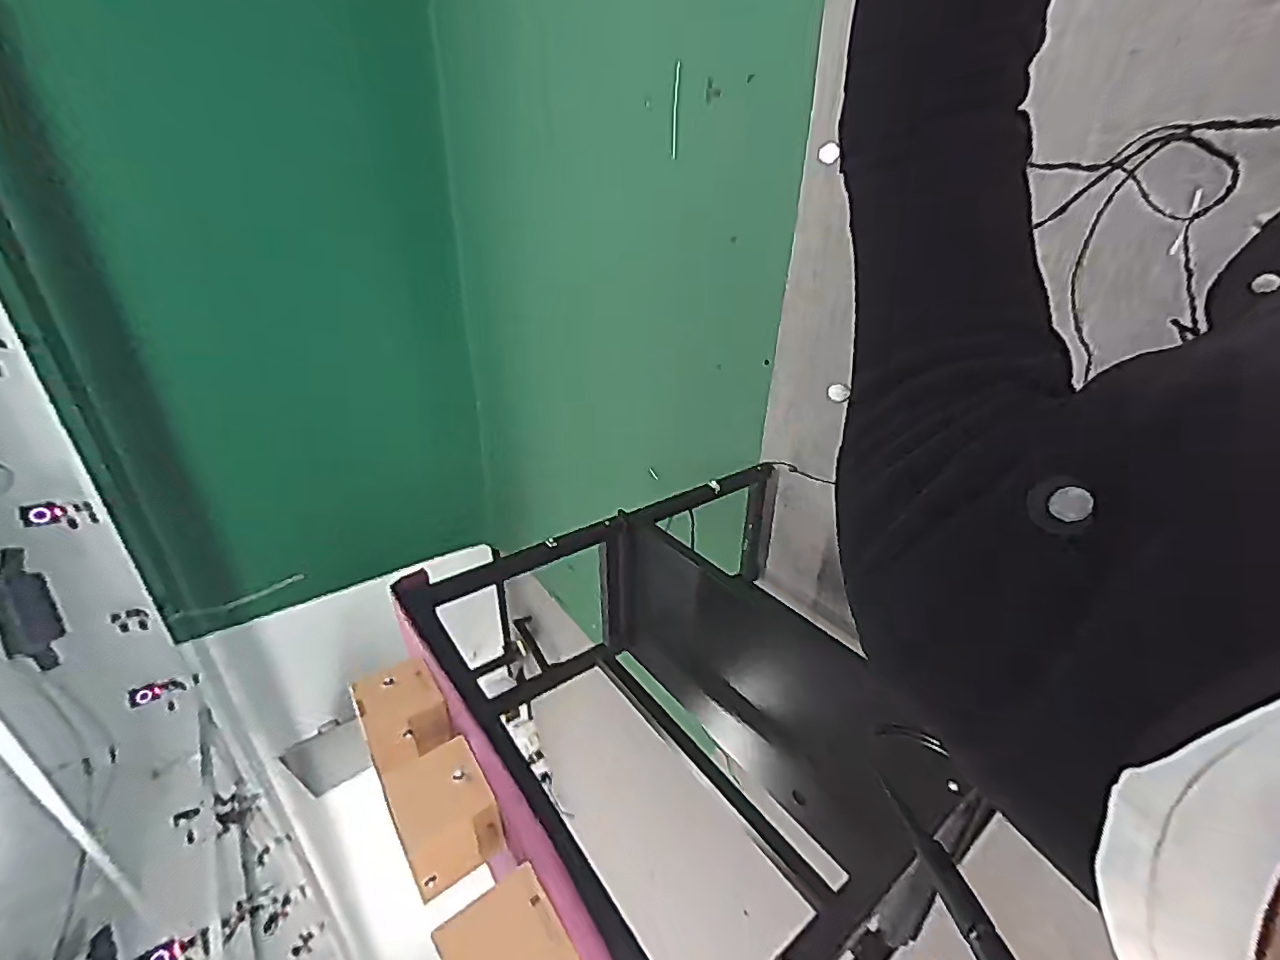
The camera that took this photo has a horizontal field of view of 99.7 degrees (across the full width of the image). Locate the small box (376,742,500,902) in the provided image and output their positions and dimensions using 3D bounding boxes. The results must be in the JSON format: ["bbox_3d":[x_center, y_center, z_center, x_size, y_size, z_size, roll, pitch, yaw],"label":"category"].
[{"bbox_3d":[-0.388,0.644,1.047,0.179,0.176,0.168,32,132,45],"label":"small box"}]

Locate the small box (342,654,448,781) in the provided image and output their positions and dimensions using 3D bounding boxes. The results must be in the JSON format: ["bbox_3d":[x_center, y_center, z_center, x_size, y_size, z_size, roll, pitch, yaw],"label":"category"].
[{"bbox_3d":[-0.557,0.537,1.242,0.168,0.176,0.179,36,133,42],"label":"small box"}]
